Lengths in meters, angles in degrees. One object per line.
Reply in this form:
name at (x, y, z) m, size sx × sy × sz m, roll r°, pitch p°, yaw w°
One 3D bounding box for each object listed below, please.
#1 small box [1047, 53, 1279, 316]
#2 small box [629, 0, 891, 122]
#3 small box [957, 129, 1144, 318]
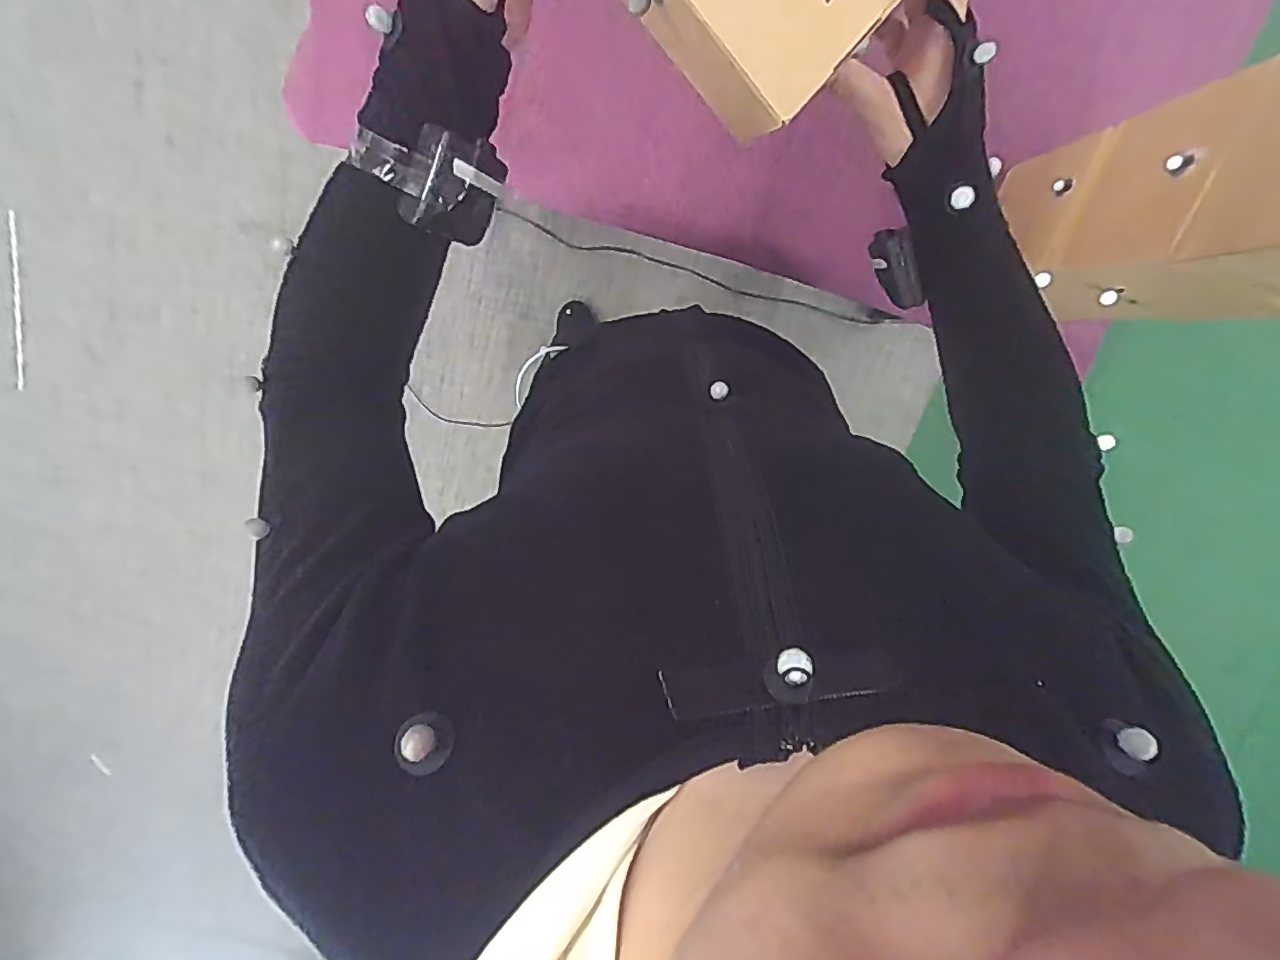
small box at (0.590, -0.286, 0.571) m, size 0.168 × 0.176 × 0.179 m, roll 19°, pitch 105°, yaw -5°
small box at (0.070, -0.331, 0.295) m, size 0.179 × 0.176 × 0.168 m, roll 40°, pitch 114°, yaw -20°
small box at (0.582, -0.328, 0.728) m, size 0.179 × 0.176 × 0.168 m, roll 18°, pitch 104°, yaw -7°
